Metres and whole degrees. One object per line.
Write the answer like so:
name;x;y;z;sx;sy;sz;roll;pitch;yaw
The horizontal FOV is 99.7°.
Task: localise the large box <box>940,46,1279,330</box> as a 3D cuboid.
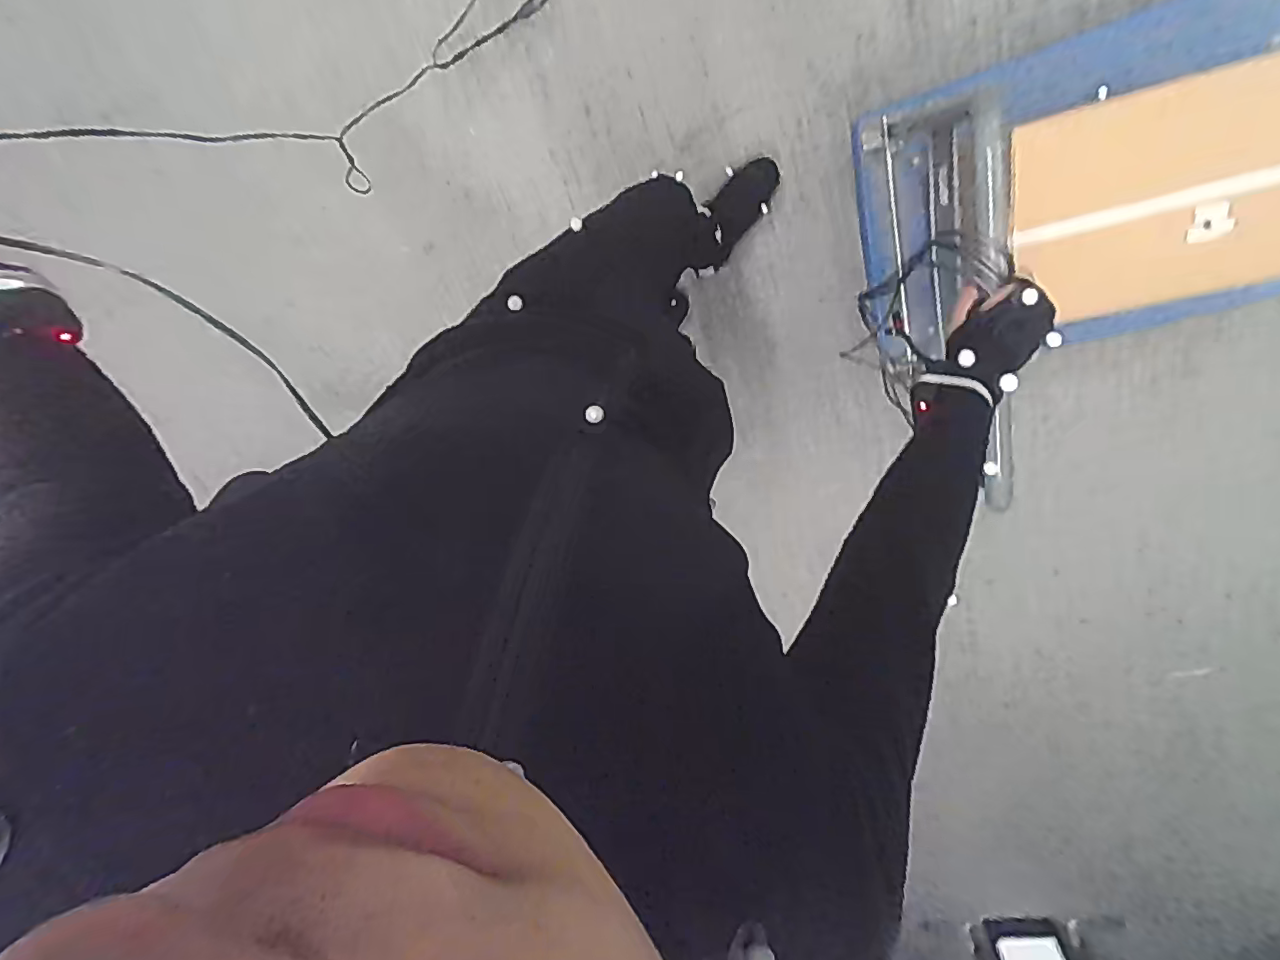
large box;0.797;-0.490;0.947;0.408;0.320;0.320;-10;116;14
